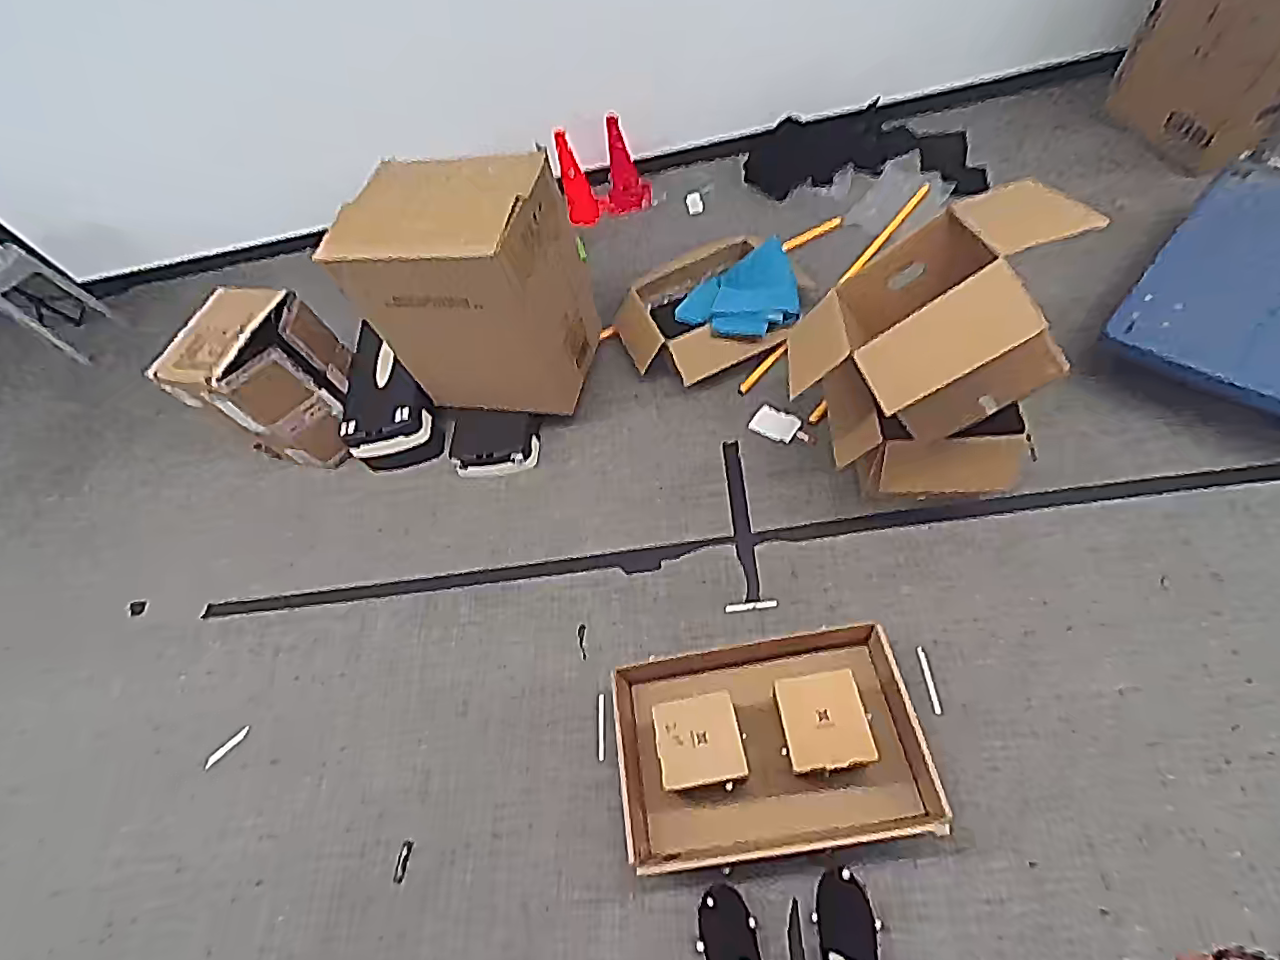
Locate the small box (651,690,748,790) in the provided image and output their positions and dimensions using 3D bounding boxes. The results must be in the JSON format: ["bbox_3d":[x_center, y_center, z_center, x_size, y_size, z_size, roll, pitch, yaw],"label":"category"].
[{"bbox_3d":[0.132,0.573,1.185,0.179,0.176,0.168,-13,57,4],"label":"small box"}]

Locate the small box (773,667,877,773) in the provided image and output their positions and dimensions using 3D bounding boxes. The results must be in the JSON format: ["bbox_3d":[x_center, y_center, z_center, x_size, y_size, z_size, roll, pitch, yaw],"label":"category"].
[{"bbox_3d":[0.385,0.520,1.163,0.168,0.176,0.179,-12,58,6],"label":"small box"}]
